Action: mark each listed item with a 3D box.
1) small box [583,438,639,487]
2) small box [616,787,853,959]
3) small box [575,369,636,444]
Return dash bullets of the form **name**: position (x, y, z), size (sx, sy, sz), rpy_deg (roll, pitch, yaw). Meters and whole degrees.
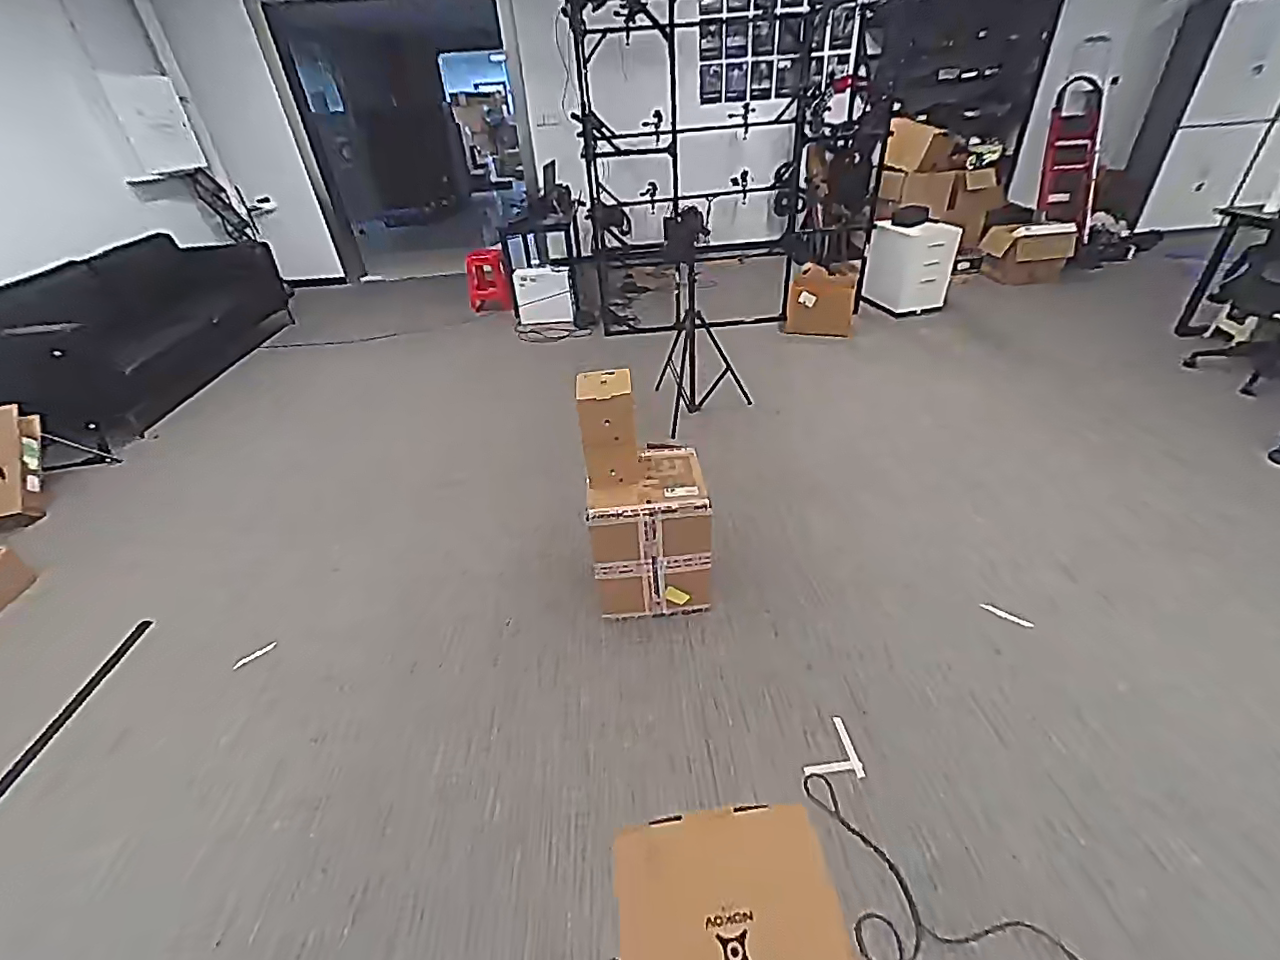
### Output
- **small box**: position (-0.096, -0.098, 1.788), size (0.168, 0.176, 0.179), rpy_deg (-8, 37, -1)
- **small box**: position (0.070, 0.390, 0.450), size (0.168, 0.176, 0.179), rpy_deg (-7, 40, -3)
- **small box**: position (-0.106, -0.223, 1.682), size (0.168, 0.176, 0.179), rpy_deg (-7, 38, 0)
